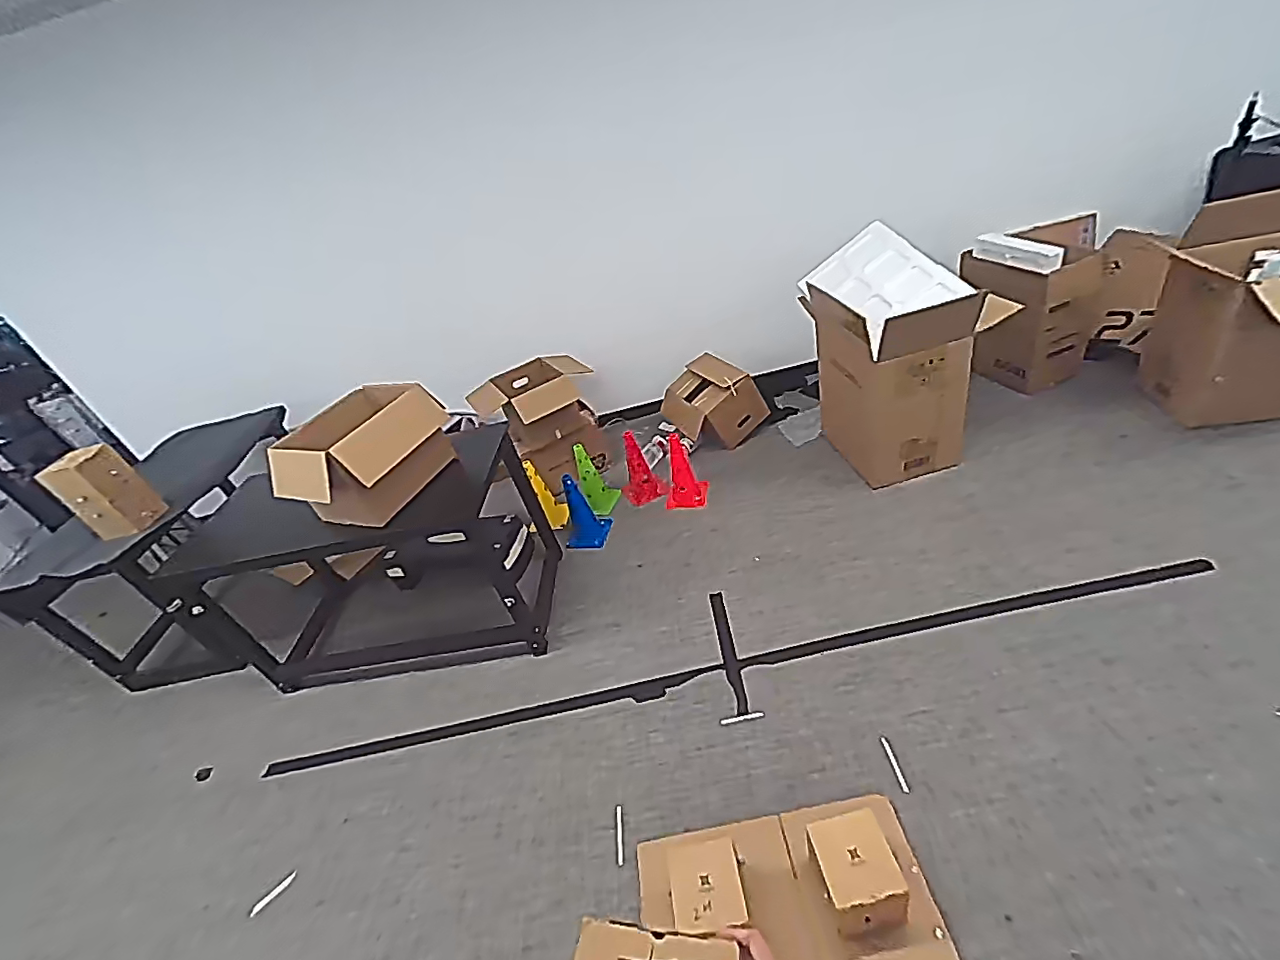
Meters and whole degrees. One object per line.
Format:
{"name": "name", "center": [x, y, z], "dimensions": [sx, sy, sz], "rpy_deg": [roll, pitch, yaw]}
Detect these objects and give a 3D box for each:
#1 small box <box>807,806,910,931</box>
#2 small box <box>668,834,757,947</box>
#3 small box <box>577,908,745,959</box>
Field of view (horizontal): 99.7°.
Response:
{"name": "small box", "center": [0.507, 0.912, 1.270], "dimensions": [0.168, 0.176, 0.179], "rpy_deg": [-16, 35, 1]}
{"name": "small box", "center": [0.172, 0.990, 1.291], "dimensions": [0.168, 0.176, 0.179], "rpy_deg": [-15, 35, 4]}
{"name": "small box", "center": [0.020, 0.569, 0.541], "dimensions": [0.168, 0.176, 0.179], "rpy_deg": [-1, 41, 13]}
